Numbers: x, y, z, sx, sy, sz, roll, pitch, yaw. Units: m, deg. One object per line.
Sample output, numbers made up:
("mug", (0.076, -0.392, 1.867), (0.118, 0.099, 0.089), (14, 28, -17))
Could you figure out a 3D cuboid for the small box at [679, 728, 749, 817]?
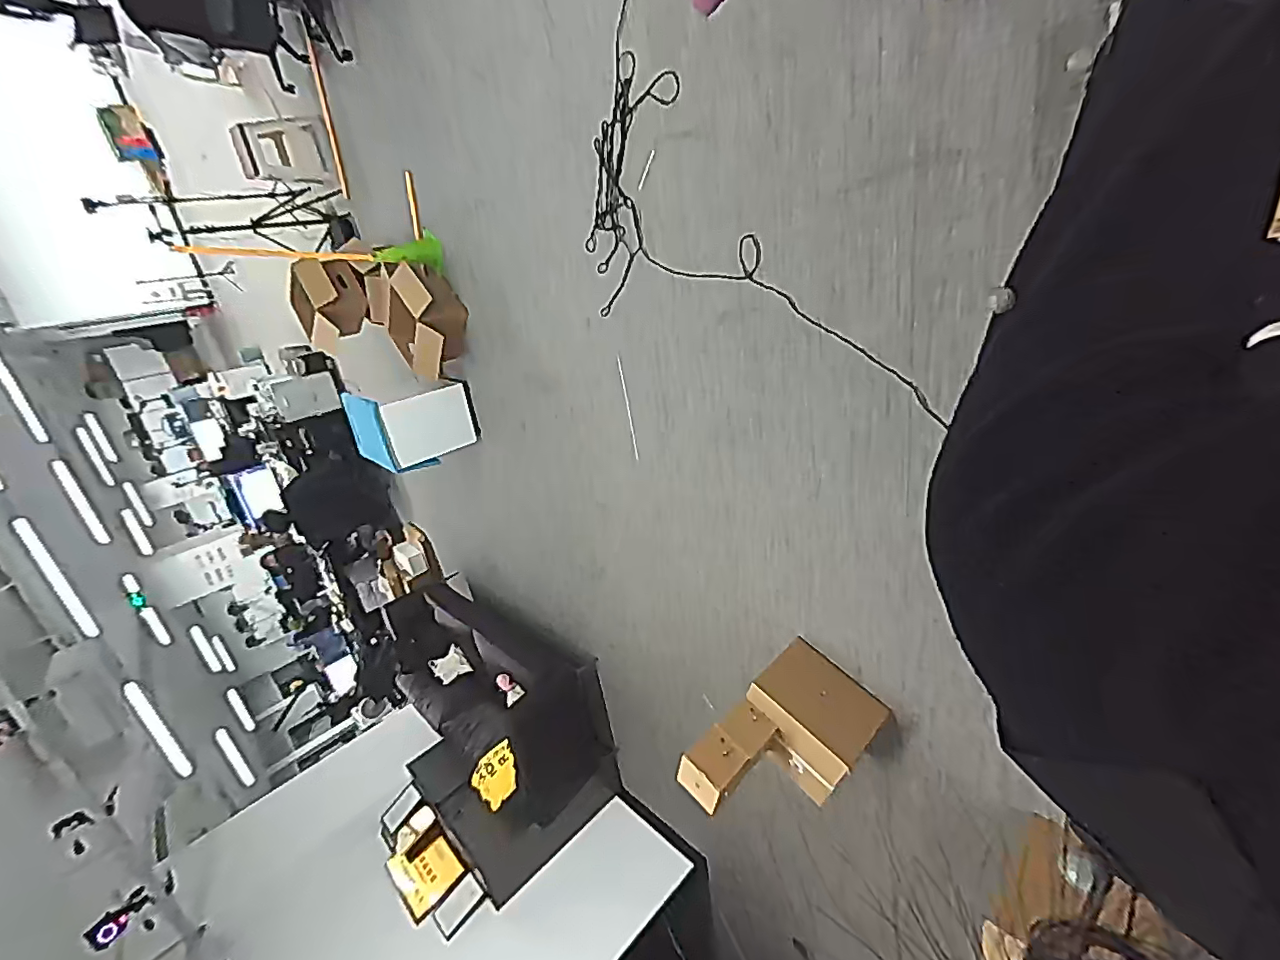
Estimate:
("small box", (0.256, 1.003, 1.864), (0.168, 0.176, 0.179), (34, 134, 34))
